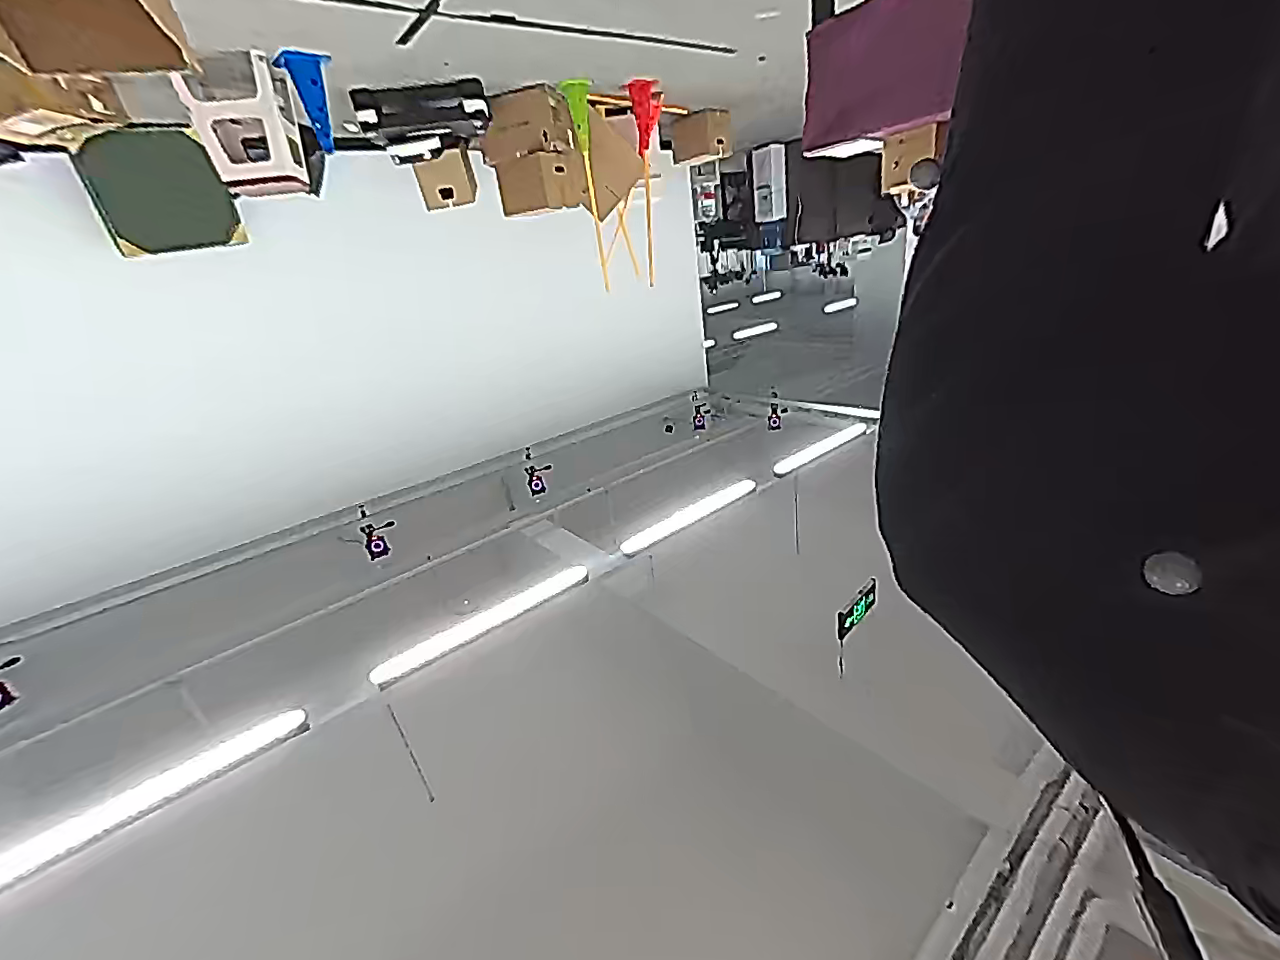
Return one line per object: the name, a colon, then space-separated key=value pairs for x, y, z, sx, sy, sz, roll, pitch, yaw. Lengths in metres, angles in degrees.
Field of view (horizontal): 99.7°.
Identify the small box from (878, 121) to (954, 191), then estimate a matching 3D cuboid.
small box: x=0.883 y=-1.036 z=1.731 sx=0.179 sy=0.176 sz=0.168 roll=-25 pitch=-151 yaw=-34
